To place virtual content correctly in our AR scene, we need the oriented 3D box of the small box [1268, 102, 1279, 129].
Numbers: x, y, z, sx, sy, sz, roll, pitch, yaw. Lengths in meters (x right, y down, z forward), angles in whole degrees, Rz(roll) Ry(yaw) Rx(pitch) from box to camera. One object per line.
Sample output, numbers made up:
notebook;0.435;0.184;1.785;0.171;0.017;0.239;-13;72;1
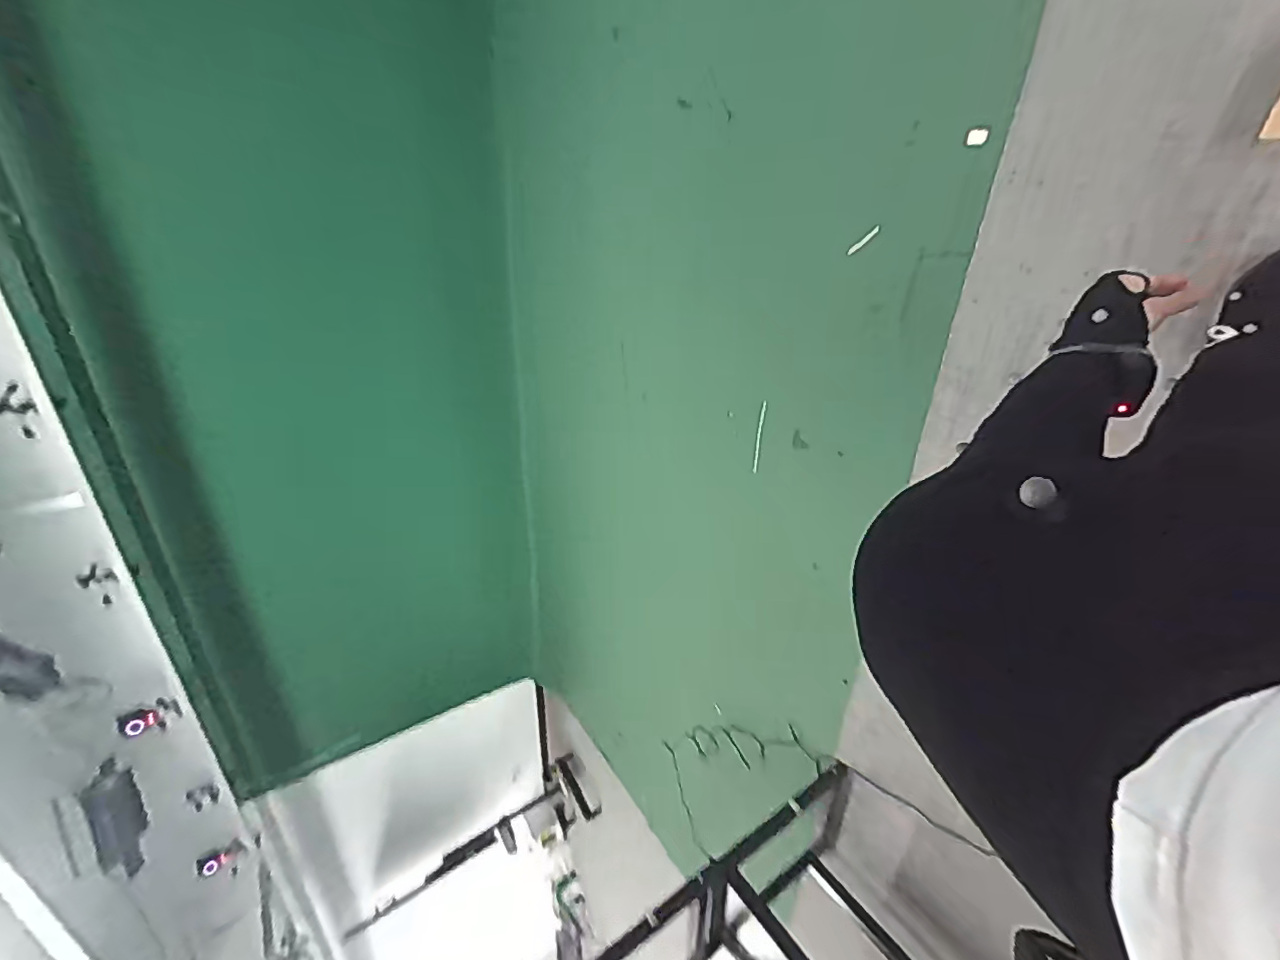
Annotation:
small box;1.182;-0.655;0.859;0.168;0.176;0.179;38;132;44
